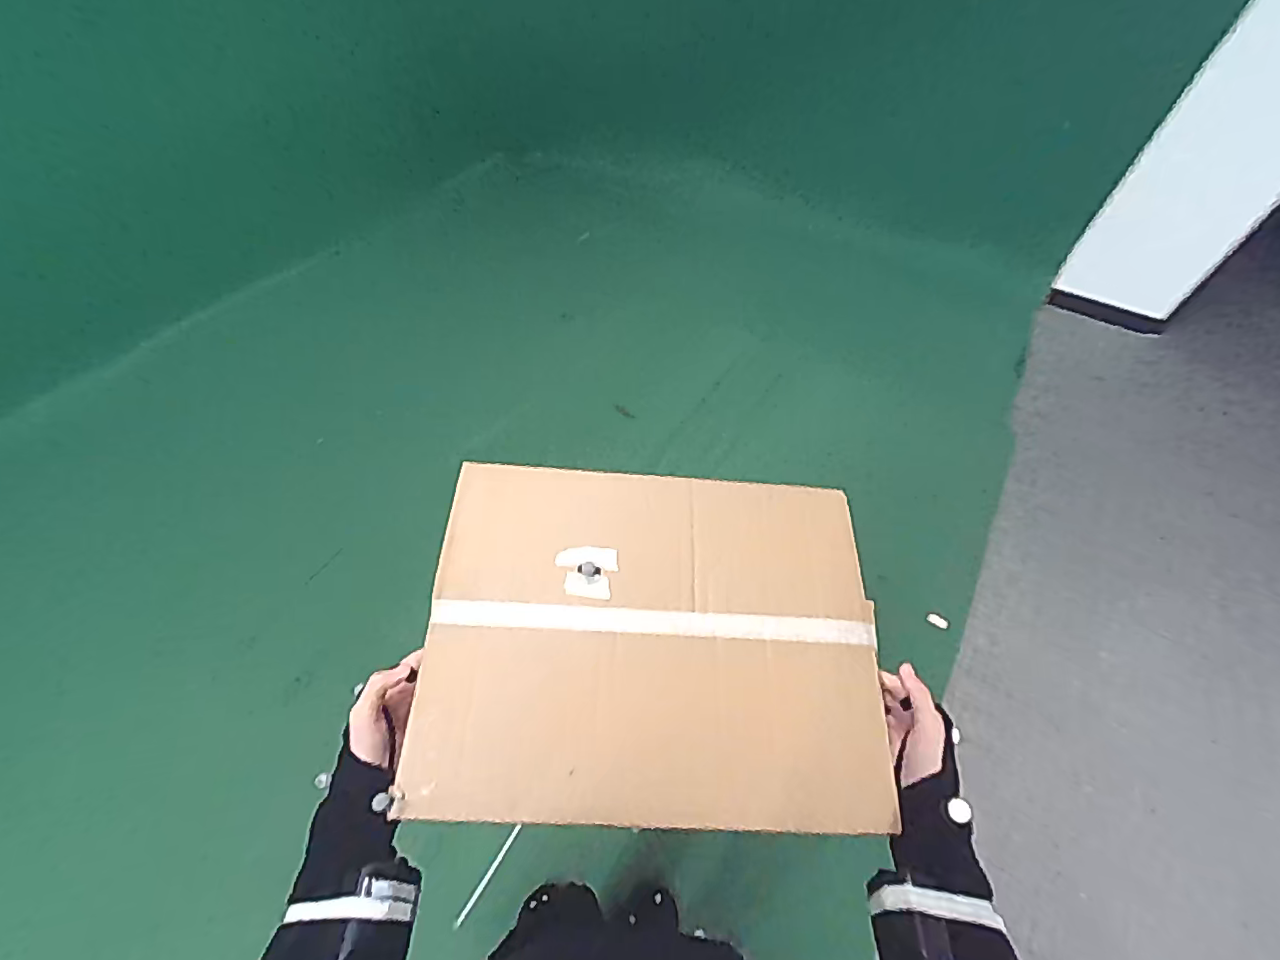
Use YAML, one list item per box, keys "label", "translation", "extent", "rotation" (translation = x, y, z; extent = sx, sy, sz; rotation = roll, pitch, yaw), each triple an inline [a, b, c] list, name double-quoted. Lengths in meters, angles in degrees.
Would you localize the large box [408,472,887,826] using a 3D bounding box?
- label: "large box"
  translation: [0.007, 0.206, 0.641]
  extent: [0.408, 0.320, 0.320]
  rotation: [4, 61, -3]
